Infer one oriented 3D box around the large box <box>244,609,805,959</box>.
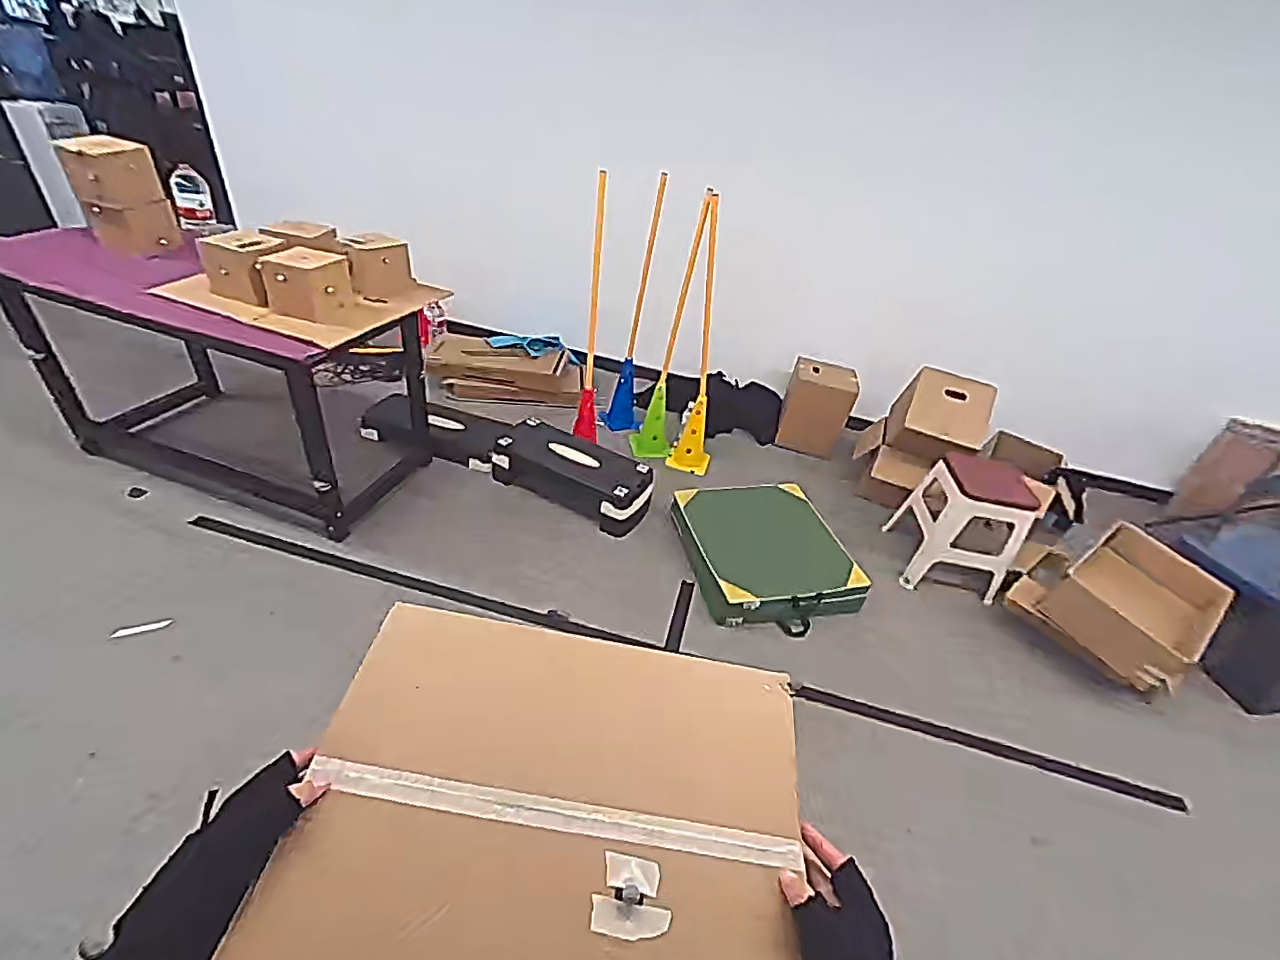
[{"bbox_3d":[-0.083,0.375,0.561,0.408,0.320,0.320,11,47,-1],"label":"large box"}]
